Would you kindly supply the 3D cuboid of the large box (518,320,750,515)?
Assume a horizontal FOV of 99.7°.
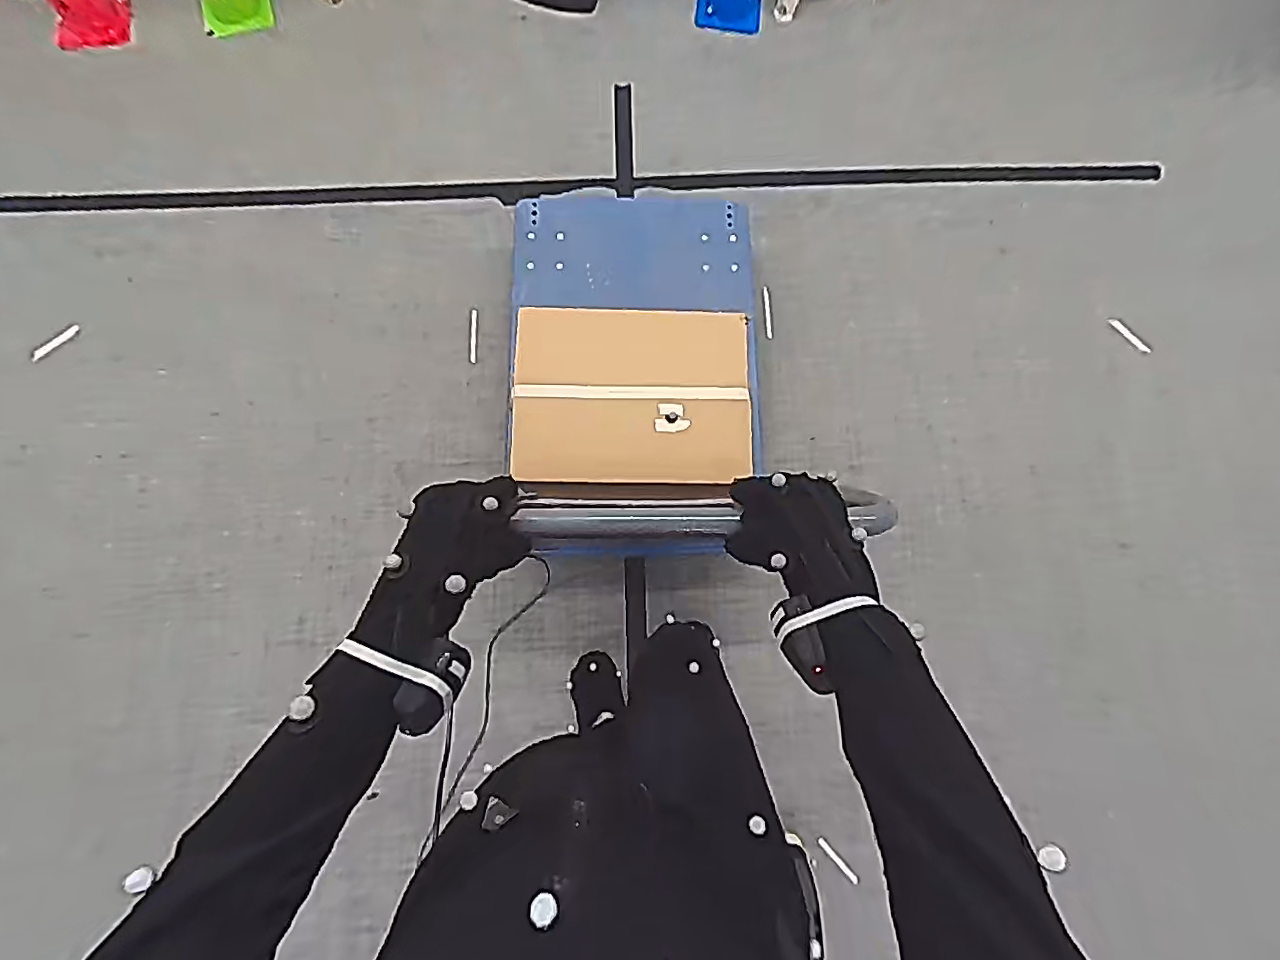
[{"bbox_3d":[-0.018,-0.105,1.092,0.408,0.320,0.320,1,79,-3],"label":"large box"}]
